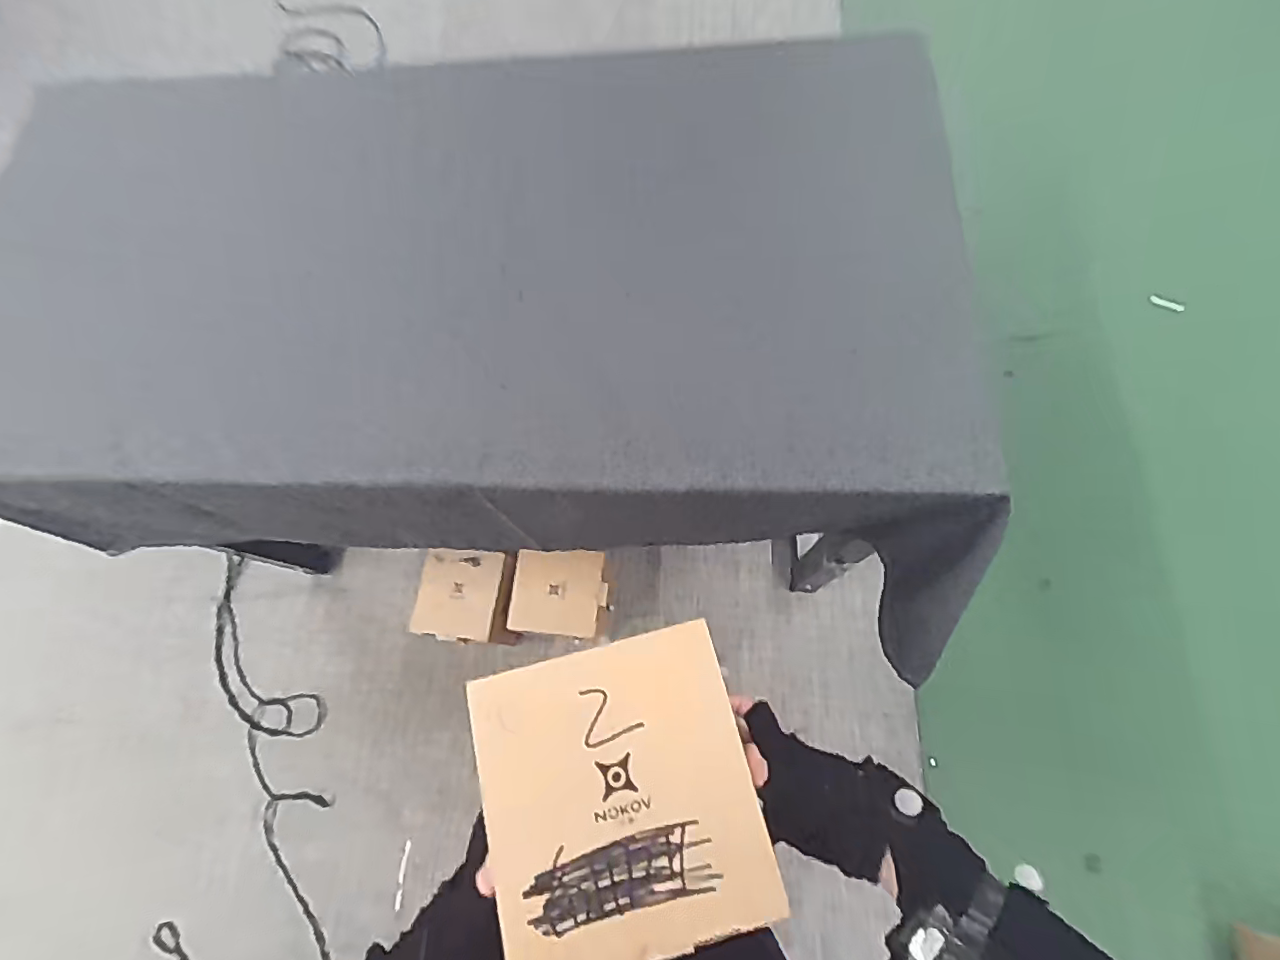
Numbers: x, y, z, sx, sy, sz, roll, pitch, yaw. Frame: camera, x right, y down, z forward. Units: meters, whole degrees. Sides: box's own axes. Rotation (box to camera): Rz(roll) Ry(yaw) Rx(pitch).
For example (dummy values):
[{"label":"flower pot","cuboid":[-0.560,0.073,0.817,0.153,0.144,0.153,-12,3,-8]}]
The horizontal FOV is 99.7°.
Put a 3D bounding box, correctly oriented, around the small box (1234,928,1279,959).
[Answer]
[{"label":"small box","cuboid":[1.062,0.815,0.802,0.179,0.176,0.168,11,71,10]}]
